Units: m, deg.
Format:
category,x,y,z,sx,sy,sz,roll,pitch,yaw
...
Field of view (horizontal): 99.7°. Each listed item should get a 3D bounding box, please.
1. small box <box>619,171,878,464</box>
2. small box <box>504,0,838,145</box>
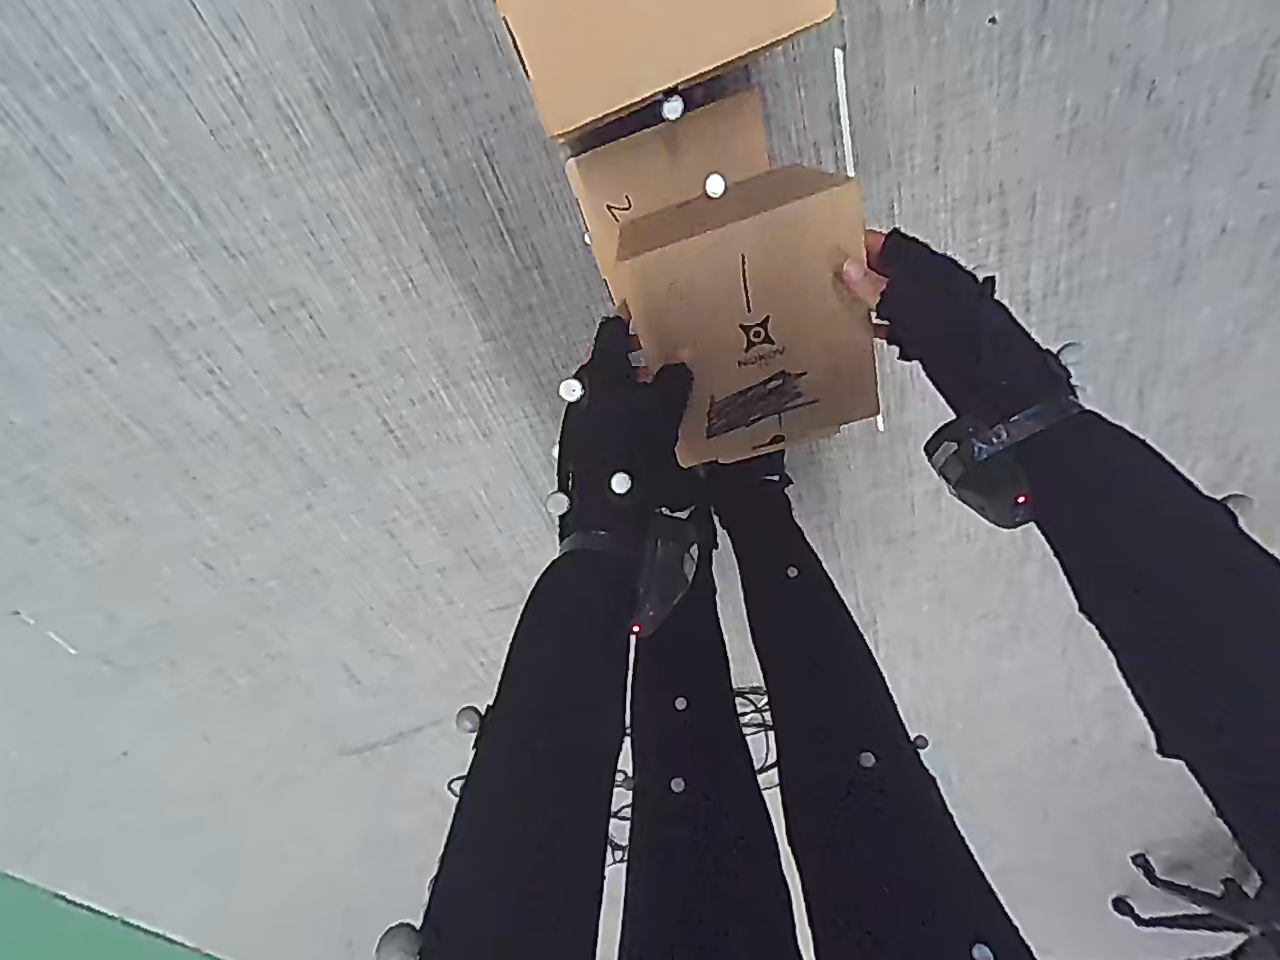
category,x,y,z,sx,sy,sz,roll,pitch,yaw
small box,0.088,-0.144,0.466,0.168,0.176,0.179,-15,121,9
small box,0.002,-0.337,0.341,0.179,0.176,0.168,-17,122,10
